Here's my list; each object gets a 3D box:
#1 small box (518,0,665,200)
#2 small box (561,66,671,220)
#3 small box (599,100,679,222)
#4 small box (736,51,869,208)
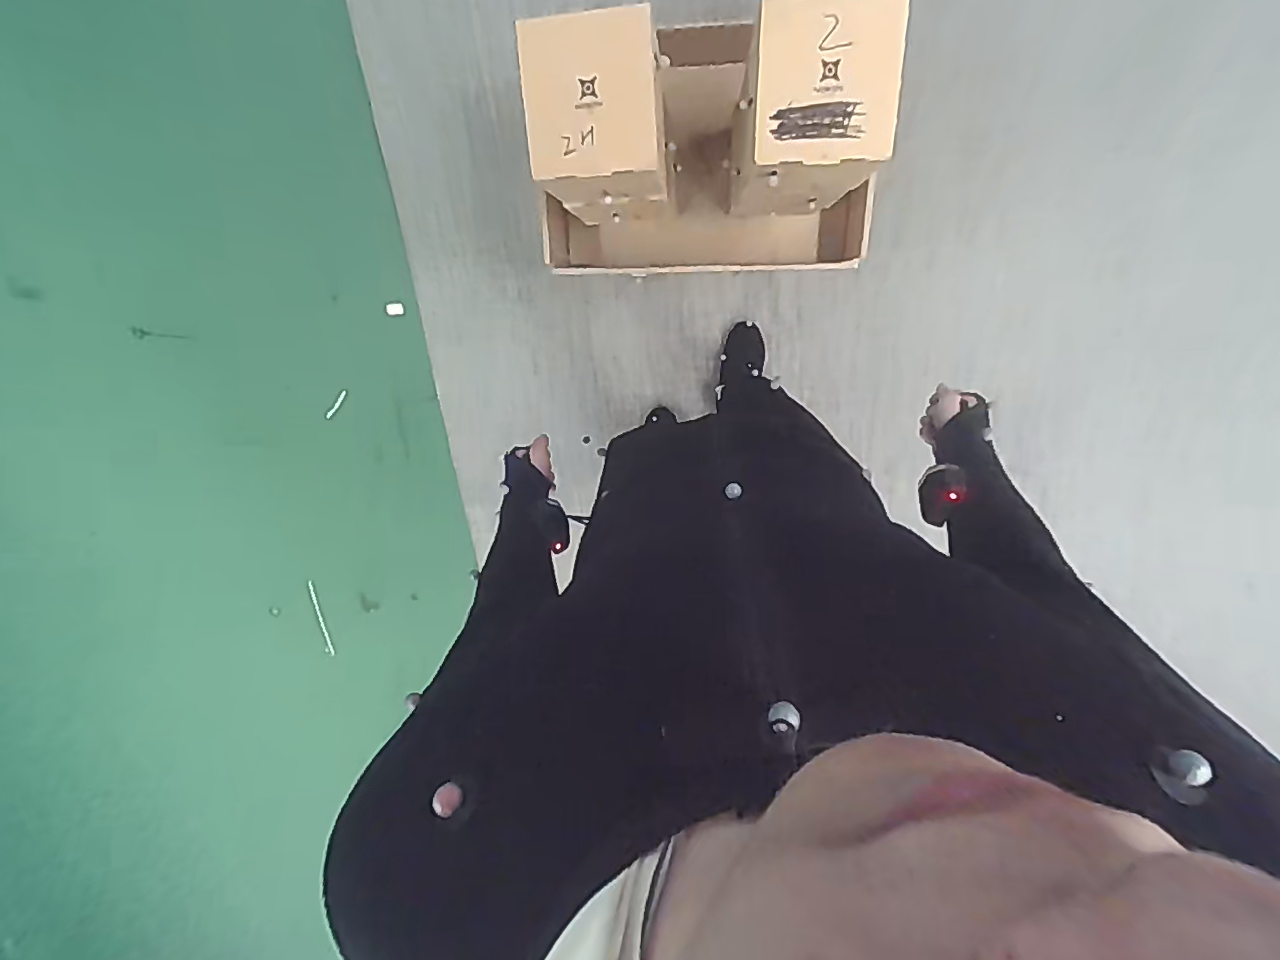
[{"bbox_3d":[-0.054,-0.495,0.729,0.168,0.176,0.179,0,108,7],"label":"small box"},{"bbox_3d":[-0.037,-0.539,0.886,0.168,0.176,0.179,-1,108,7],"label":"small box"},{"bbox_3d":[-0.017,-0.600,1.037,0.179,0.176,0.168,-1,108,6],"label":"small box"},{"bbox_3d":[0.243,-0.537,0.854,0.168,0.176,0.179,1,107,5],"label":"small box"}]
